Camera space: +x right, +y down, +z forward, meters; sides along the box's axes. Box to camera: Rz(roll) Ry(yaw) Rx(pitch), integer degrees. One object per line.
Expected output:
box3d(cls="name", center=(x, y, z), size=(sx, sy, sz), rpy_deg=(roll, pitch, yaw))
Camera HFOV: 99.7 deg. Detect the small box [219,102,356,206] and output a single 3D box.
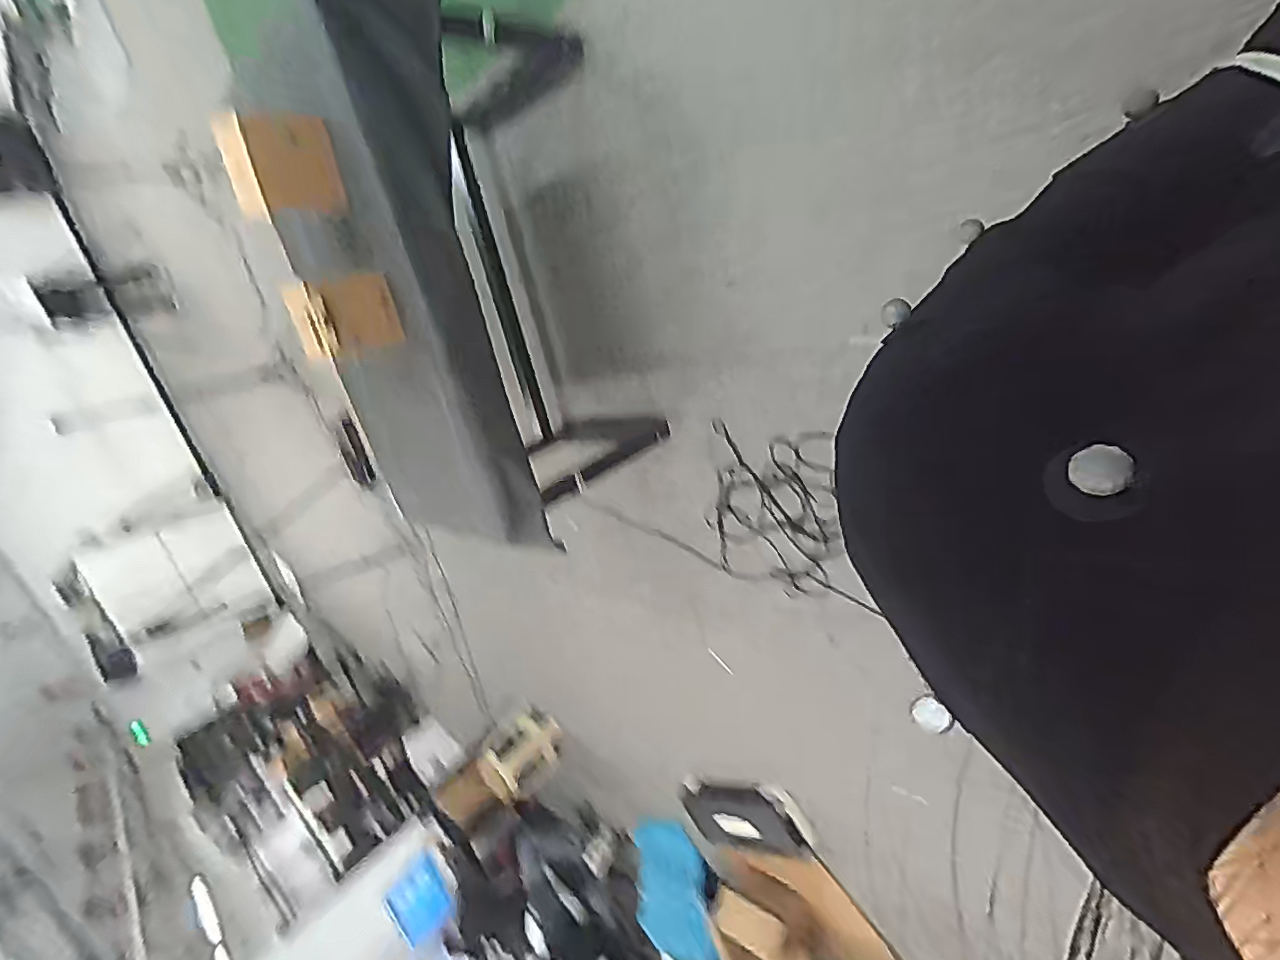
box3d(cls="small box", center=(-0.740, -0.685, 1.147), size=(0.168, 0.176, 0.179), rpy_deg=(22, 128, 36))
